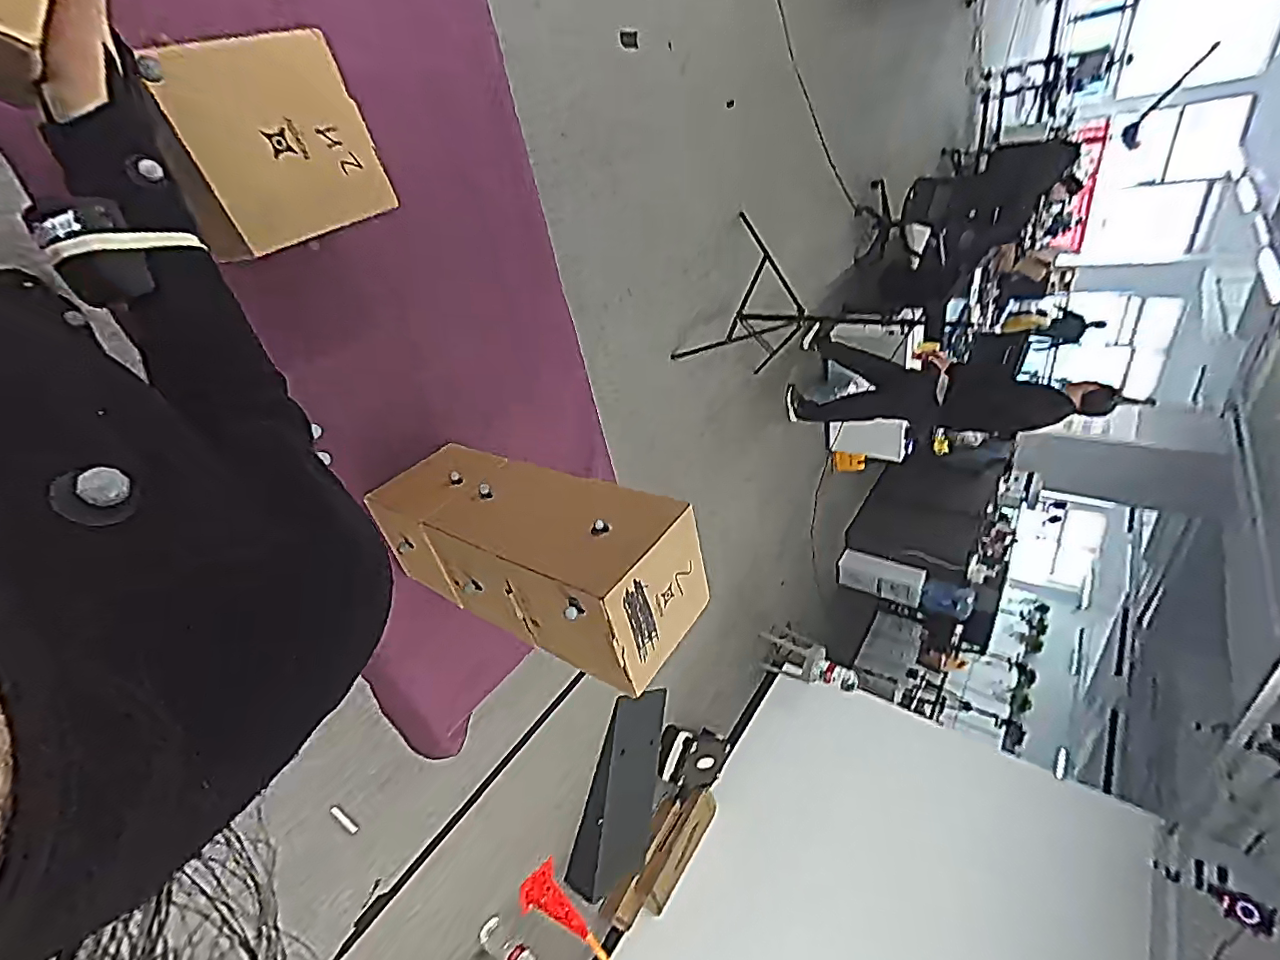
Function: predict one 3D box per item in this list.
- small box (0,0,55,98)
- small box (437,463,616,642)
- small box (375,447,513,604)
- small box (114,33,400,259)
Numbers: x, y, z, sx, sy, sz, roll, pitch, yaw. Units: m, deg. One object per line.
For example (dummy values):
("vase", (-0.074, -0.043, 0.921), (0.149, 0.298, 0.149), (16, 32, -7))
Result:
("small box", (-0.398, -0.328, 0.260), (0.168, 0.176, 0.179), (7, 98, -51))
("small box", (-0.166, 0.094, 0.785), (0.179, 0.176, 0.168), (-41, 131, -38))
("small box", (-0.297, 0.064, 0.878), (0.179, 0.176, 0.168), (-42, 132, -38))
("small box", (-0.409, -0.349, 0.583), (0.179, 0.176, 0.168), (-46, 135, -35))
